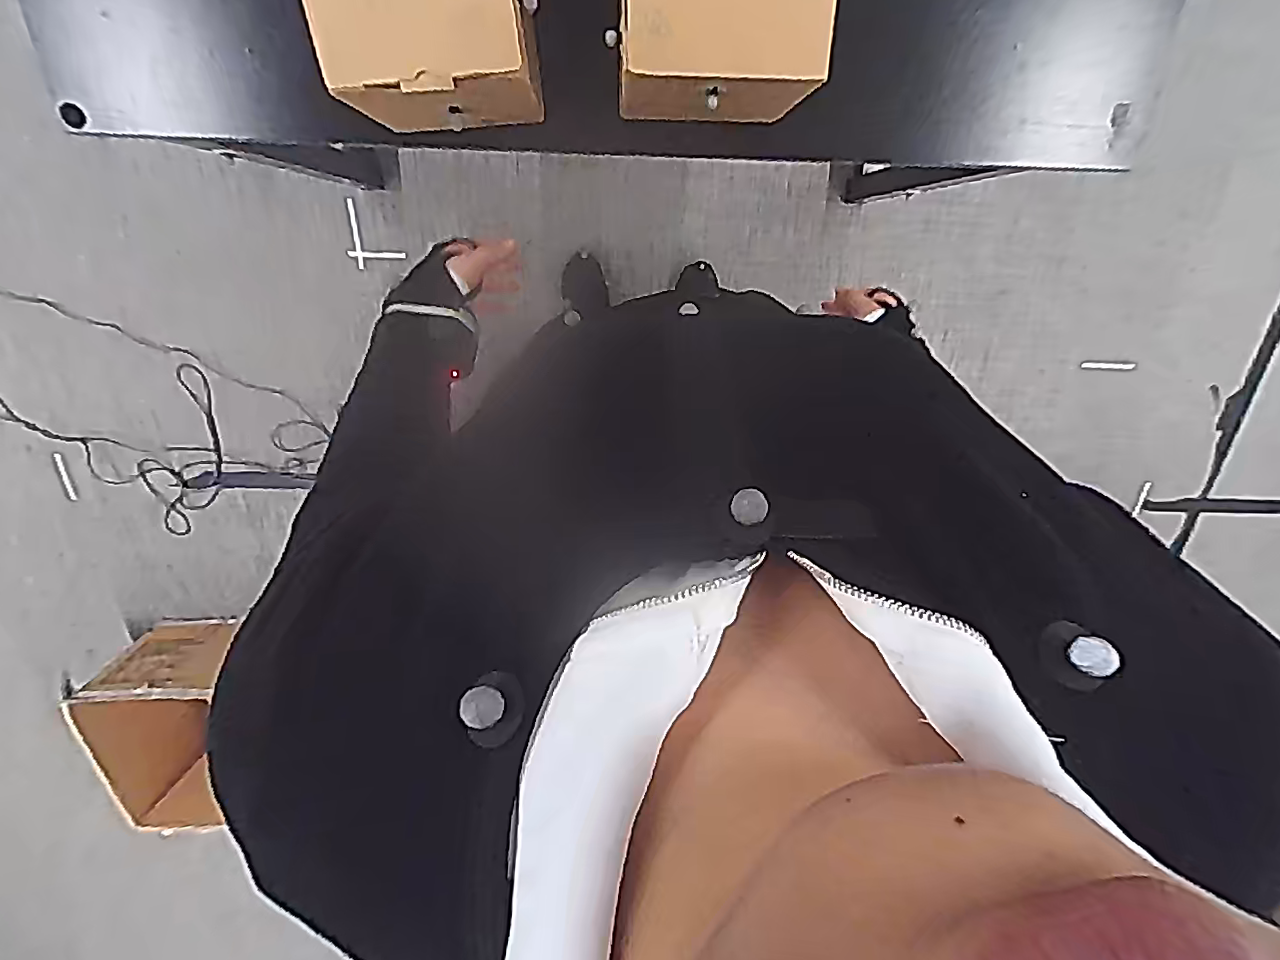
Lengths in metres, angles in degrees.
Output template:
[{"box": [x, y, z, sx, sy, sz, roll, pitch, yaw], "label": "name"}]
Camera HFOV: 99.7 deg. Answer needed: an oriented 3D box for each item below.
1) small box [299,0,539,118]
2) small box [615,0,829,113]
[{"box": [-0.192, -0.444, 0.486, 0.168, 0.176, 0.179, -5, 113, 0], "label": "small box"}, {"box": [0.065, -0.454, 0.498, 0.179, 0.176, 0.168, -1, 113, -3], "label": "small box"}]
